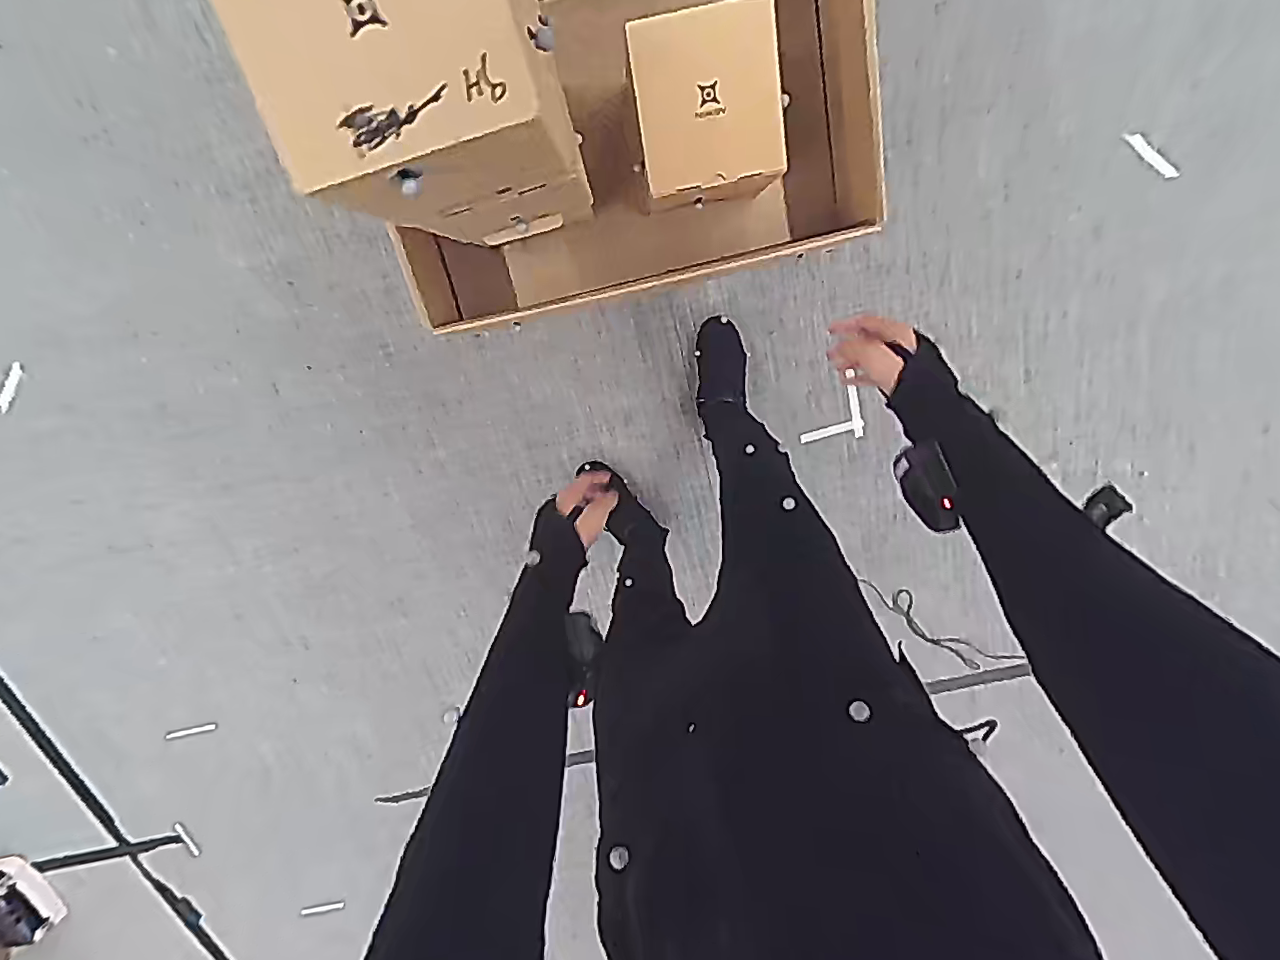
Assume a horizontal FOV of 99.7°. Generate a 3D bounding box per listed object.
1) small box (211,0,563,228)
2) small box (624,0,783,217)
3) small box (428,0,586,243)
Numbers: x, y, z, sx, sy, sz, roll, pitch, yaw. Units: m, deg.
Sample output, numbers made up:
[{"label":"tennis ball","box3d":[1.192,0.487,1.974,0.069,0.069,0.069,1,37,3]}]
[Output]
[{"label":"small box","box3d":[-0.164,-0.303,0.388,0.168,0.176,0.179,-15,107,5]},{"label":"small box","box3d":[0.073,-0.454,0.689,0.168,0.176,0.179,-10,109,3]},{"label":"small box","box3d":[-0.160,-0.357,0.544,0.168,0.176,0.179,-15,109,5]}]
